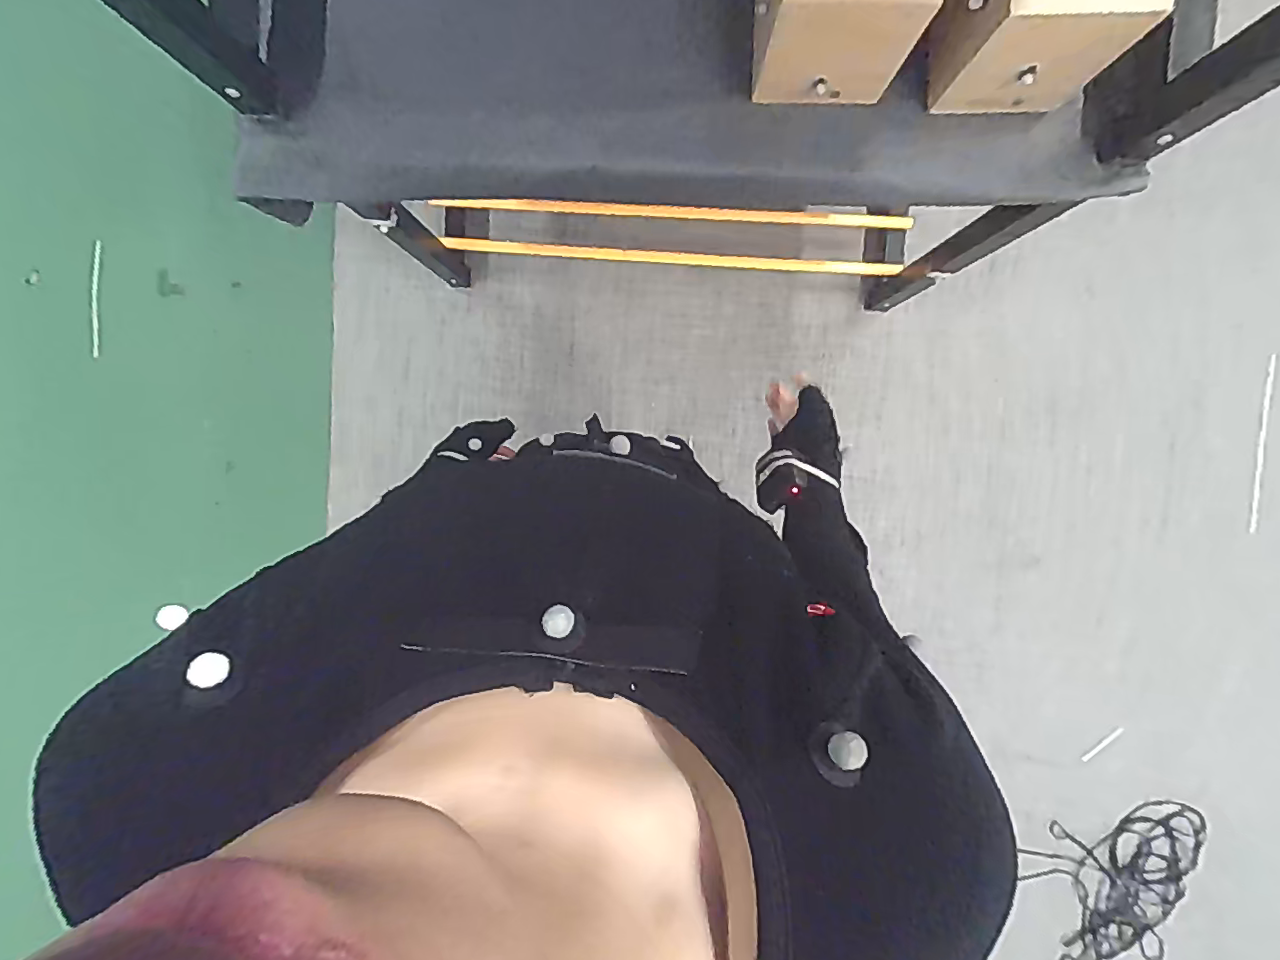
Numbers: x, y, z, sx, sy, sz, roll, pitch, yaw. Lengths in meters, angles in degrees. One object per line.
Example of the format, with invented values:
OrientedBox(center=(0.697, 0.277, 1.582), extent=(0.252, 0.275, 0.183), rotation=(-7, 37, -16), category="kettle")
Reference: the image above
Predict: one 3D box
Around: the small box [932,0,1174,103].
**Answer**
OrientedBox(center=(0.461, -0.569, 0.622), extent=(0.168, 0.176, 0.179), rotation=(-1, 94, 1), category="small box")
